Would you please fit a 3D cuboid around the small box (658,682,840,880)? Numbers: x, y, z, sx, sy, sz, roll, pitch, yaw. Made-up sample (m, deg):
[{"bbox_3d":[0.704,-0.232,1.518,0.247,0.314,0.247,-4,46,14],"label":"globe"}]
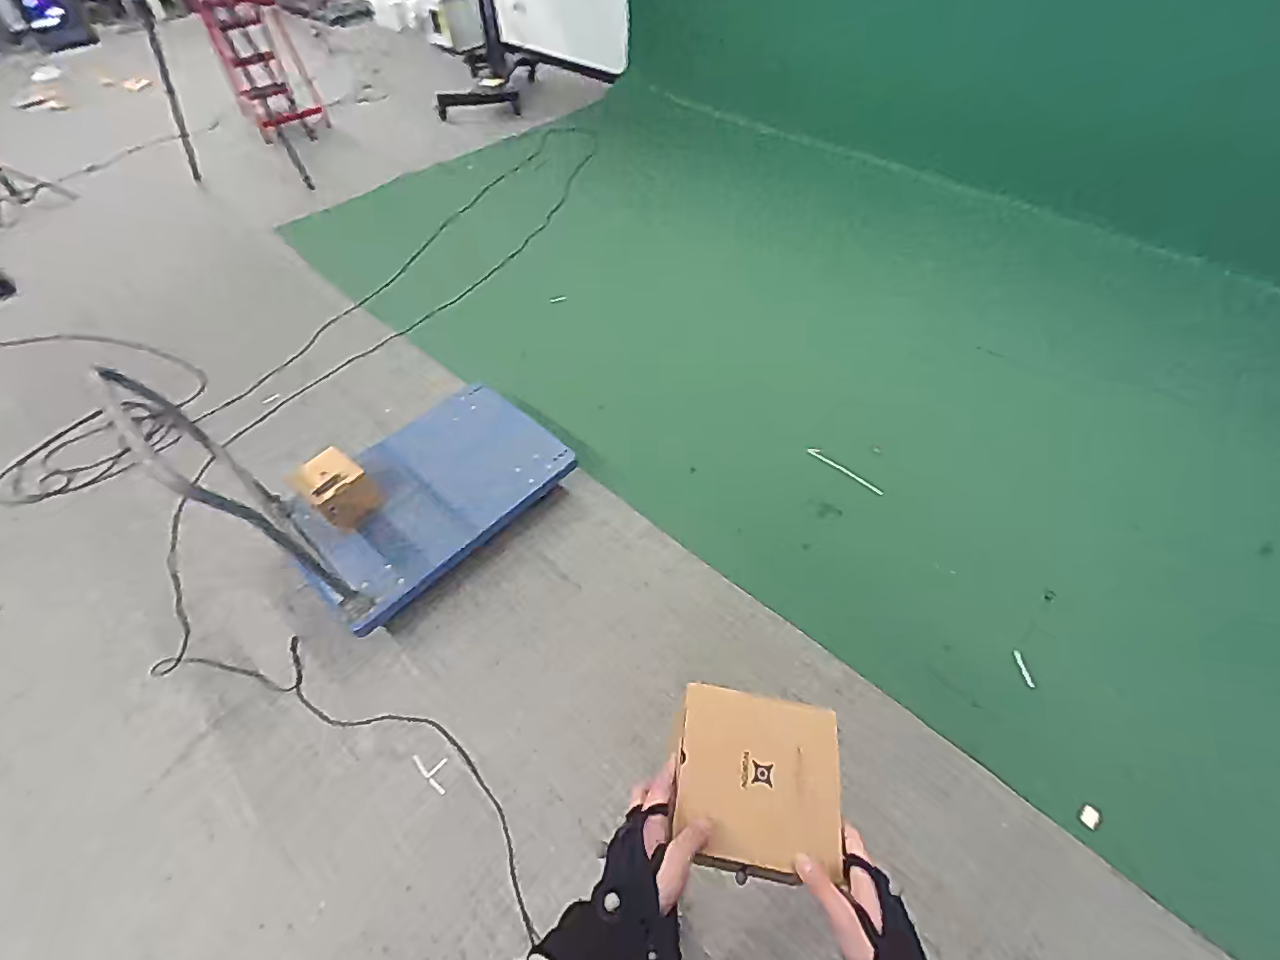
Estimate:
[{"bbox_3d":[0.120,0.362,0.644,0.179,0.176,0.168,9,52,3],"label":"small box"}]
